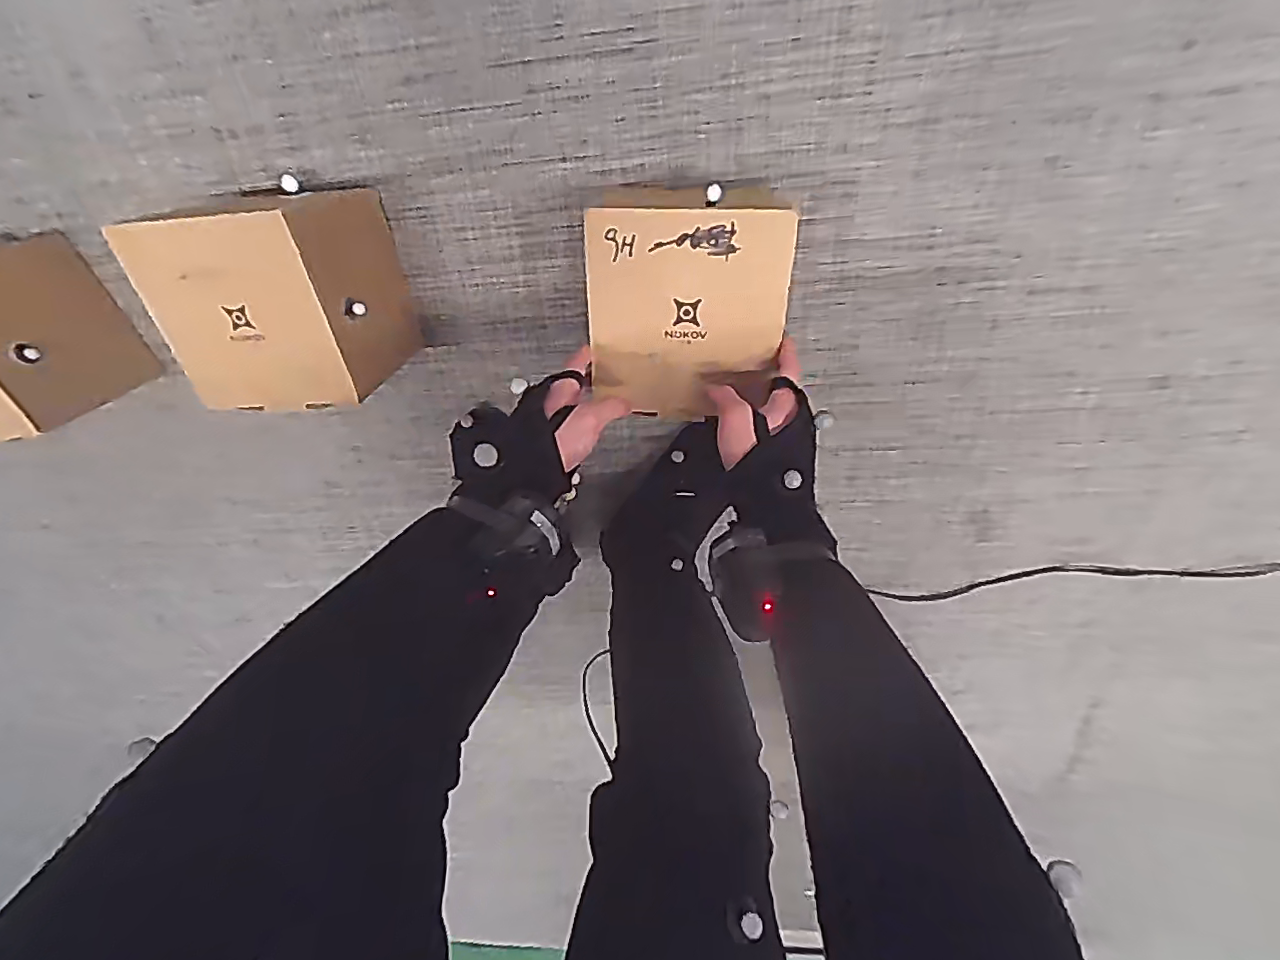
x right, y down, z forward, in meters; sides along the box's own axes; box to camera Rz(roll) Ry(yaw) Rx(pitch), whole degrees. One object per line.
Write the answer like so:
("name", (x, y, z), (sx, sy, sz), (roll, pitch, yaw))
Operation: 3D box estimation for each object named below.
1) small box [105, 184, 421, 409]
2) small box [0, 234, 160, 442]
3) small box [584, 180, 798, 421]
("small box", (-0.352, -0.189, 0.553), (0.168, 0.176, 0.179), (-2, 124, 6))
("small box", (-0.718, -0.156, 0.609), (0.168, 0.176, 0.179), (-8, 123, 10))
("small box", (0.045, -0.176, 0.518), (0.168, 0.176, 0.179), (4, 124, 4))
